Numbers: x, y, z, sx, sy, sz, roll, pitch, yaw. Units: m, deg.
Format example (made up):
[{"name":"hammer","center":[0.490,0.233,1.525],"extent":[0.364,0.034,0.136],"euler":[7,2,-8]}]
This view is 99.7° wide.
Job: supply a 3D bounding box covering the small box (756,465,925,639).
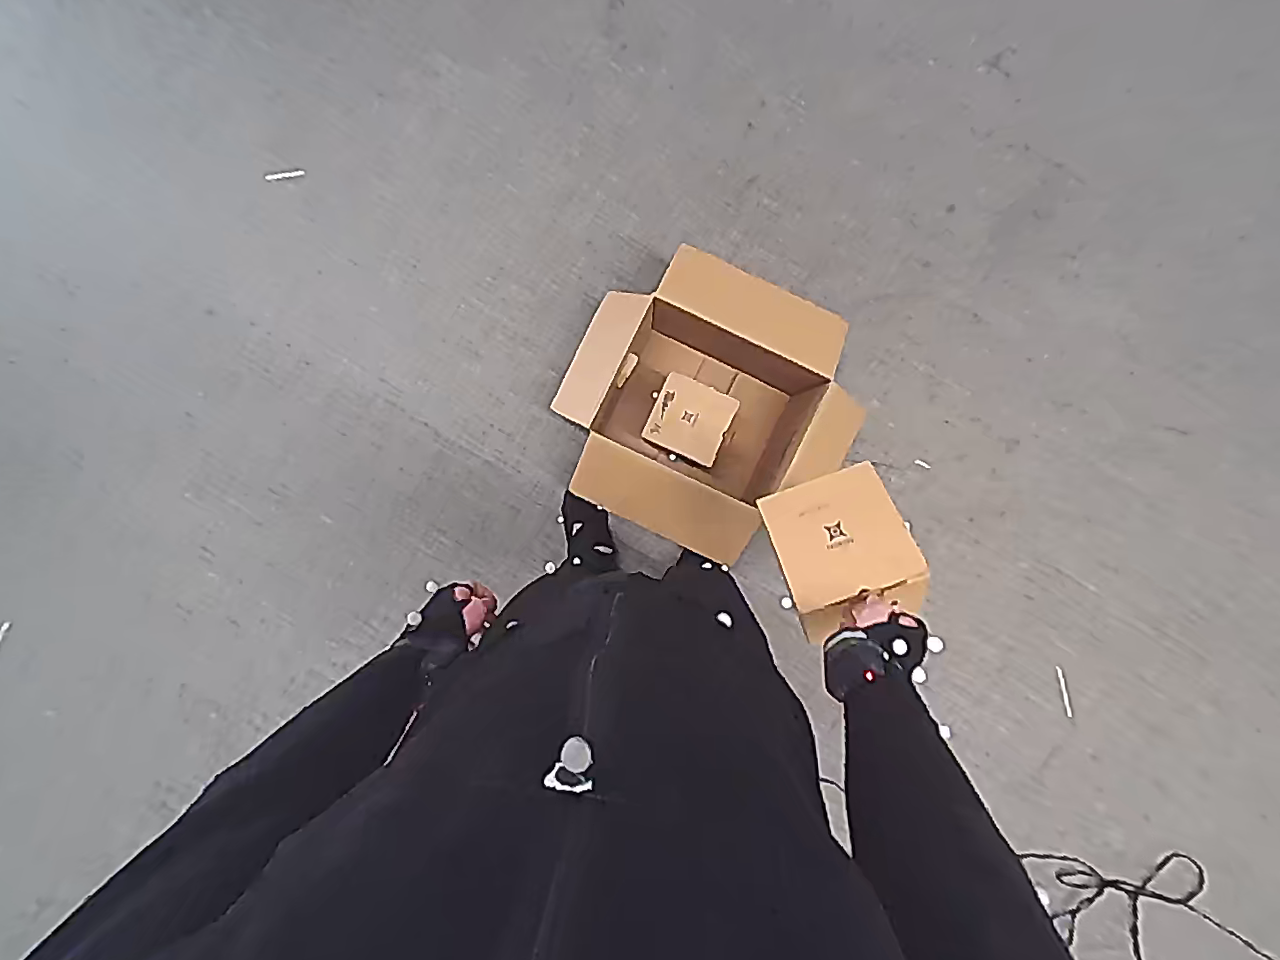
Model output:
[{"name":"small box","center":[0.283,0.114,0.778],"extent":[0.168,0.176,0.179],"euler":[-20,53,8]}]
